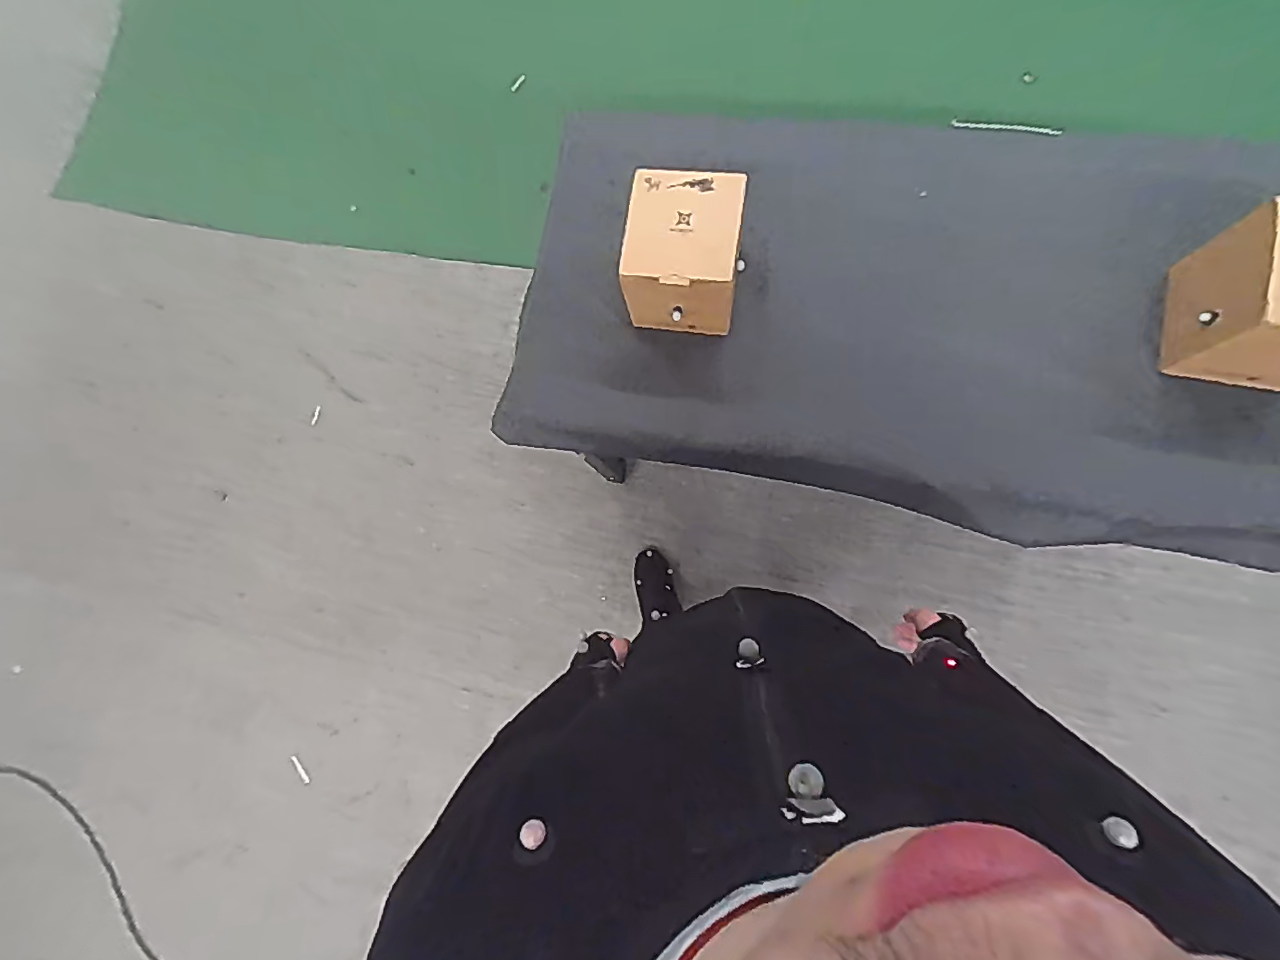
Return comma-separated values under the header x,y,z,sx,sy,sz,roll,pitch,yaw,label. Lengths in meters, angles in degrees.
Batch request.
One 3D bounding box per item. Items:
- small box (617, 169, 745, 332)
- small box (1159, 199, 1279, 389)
x,y,z,sx,sy,sz,roll,pitch,yaw,label
0.070,-0.352,0.855,0.168,0.176,0.179,8,81,8,small box
0.860,-0.238,0.730,0.168,0.176,0.179,12,81,9,small box
